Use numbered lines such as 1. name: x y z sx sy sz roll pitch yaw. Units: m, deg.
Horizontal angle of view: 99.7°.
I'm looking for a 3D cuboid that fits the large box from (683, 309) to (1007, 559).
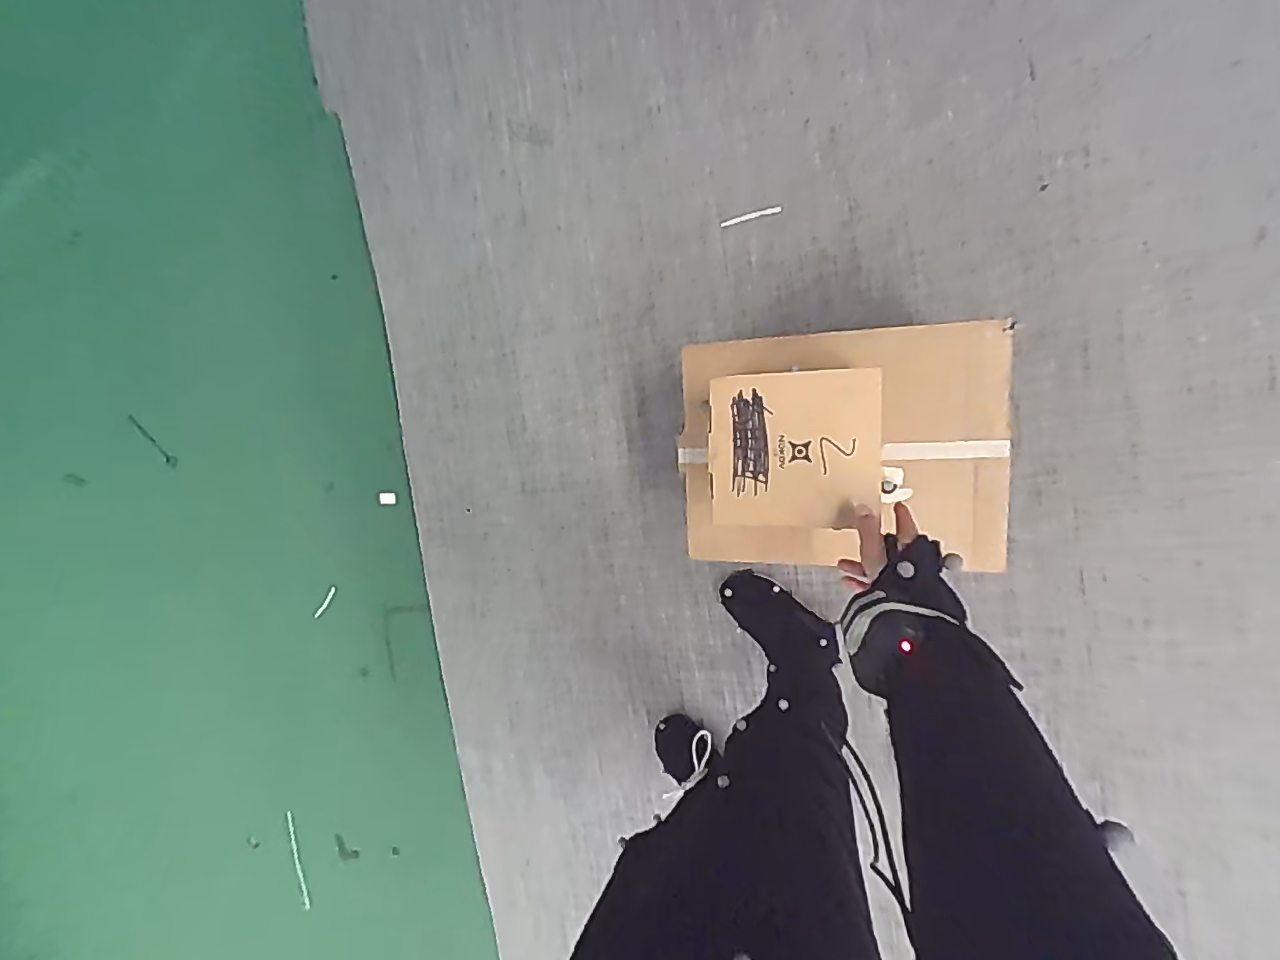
1. large box: 0.301 -0.062 0.859 0.408 0.320 0.320 -1 97 18
